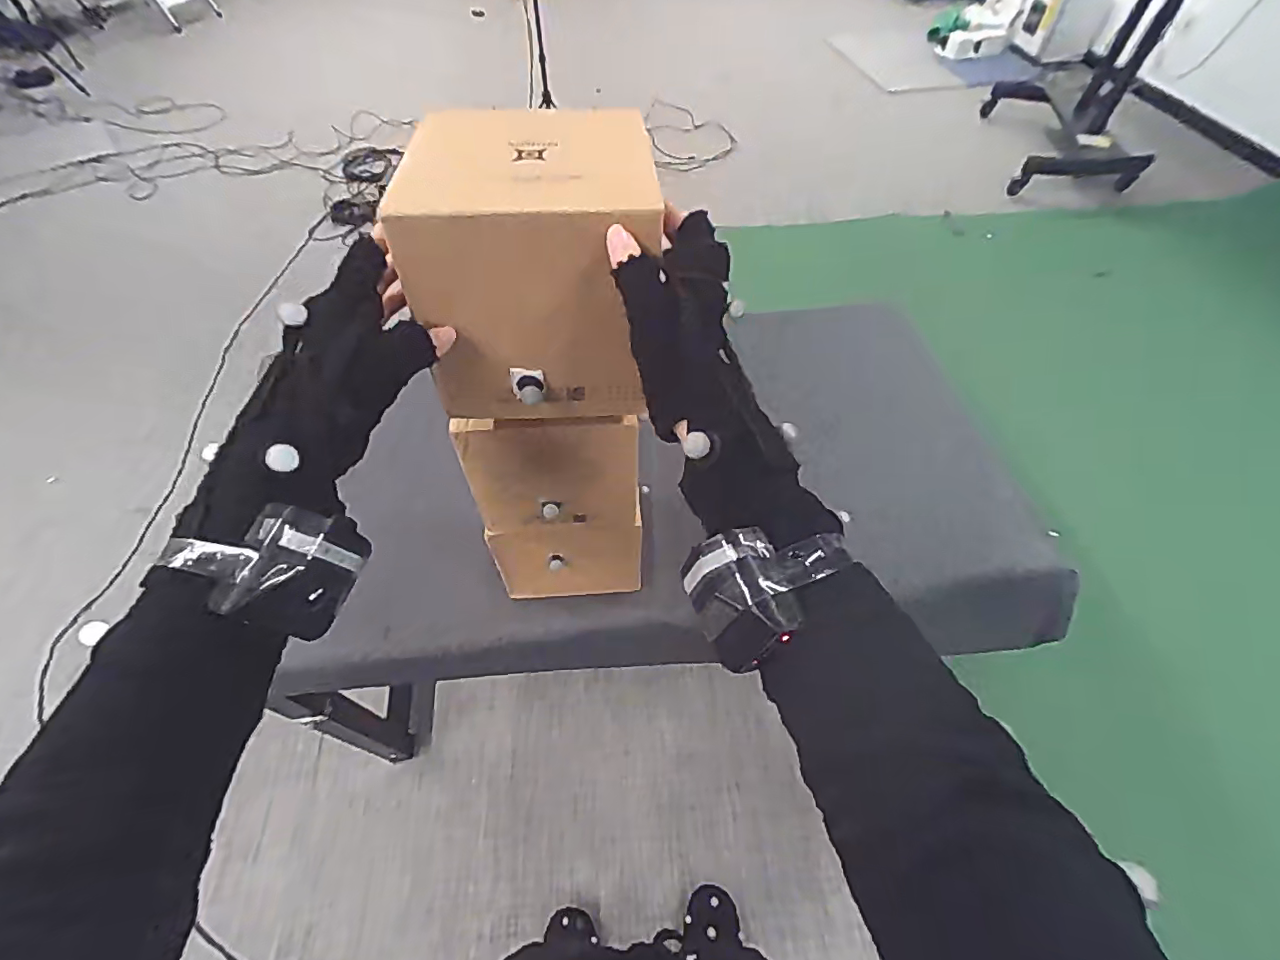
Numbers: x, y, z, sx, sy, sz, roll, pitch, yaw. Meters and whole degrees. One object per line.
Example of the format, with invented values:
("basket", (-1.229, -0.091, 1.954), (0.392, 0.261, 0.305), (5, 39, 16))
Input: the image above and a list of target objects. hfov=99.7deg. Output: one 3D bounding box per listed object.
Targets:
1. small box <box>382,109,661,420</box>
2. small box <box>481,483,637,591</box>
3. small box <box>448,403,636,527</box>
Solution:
("small box", (-0.076, -0.167, 0.430), (0.168, 0.176, 0.179), (-2, 51, -4))
("small box", (-0.096, 0.037, 0.713), (0.179, 0.176, 0.168), (-3, 54, -3))
("small box", (-0.091, -0.067, 0.584), (0.168, 0.176, 0.179), (-1, 54, -2))
